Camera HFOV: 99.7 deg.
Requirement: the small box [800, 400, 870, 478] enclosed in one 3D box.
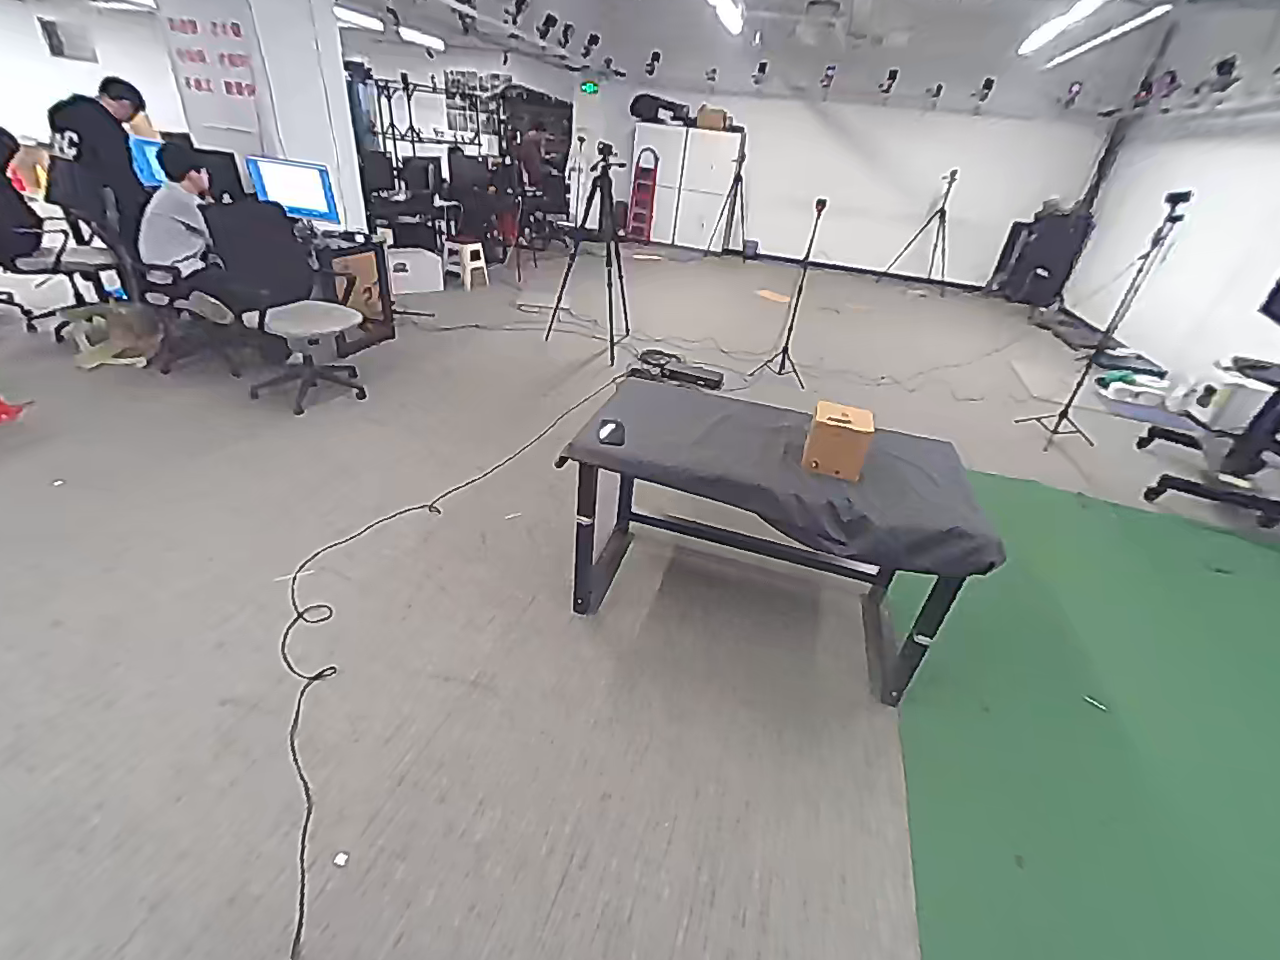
[{"bbox_3d":[0.598,-0.125,1.667,0.168,0.176,0.179,15,31,13],"label":"small box"}]
